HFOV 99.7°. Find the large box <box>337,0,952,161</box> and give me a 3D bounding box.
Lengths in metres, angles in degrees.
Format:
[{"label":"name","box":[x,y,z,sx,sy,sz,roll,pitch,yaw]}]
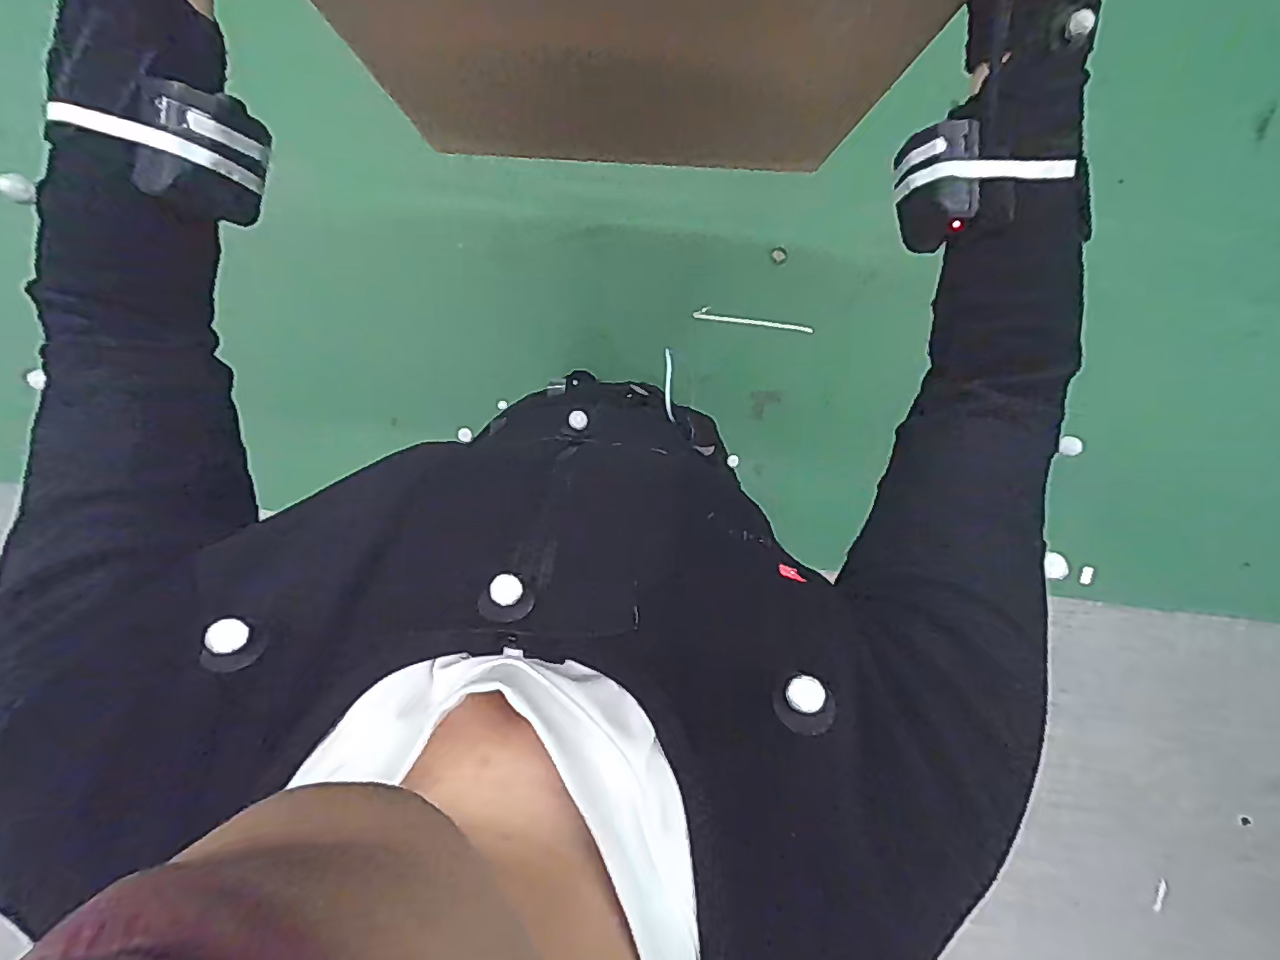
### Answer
[{"label":"large box","box":[-0.002,-0.464,0.398,0.408,0.320,0.320,1,101,-3]}]
